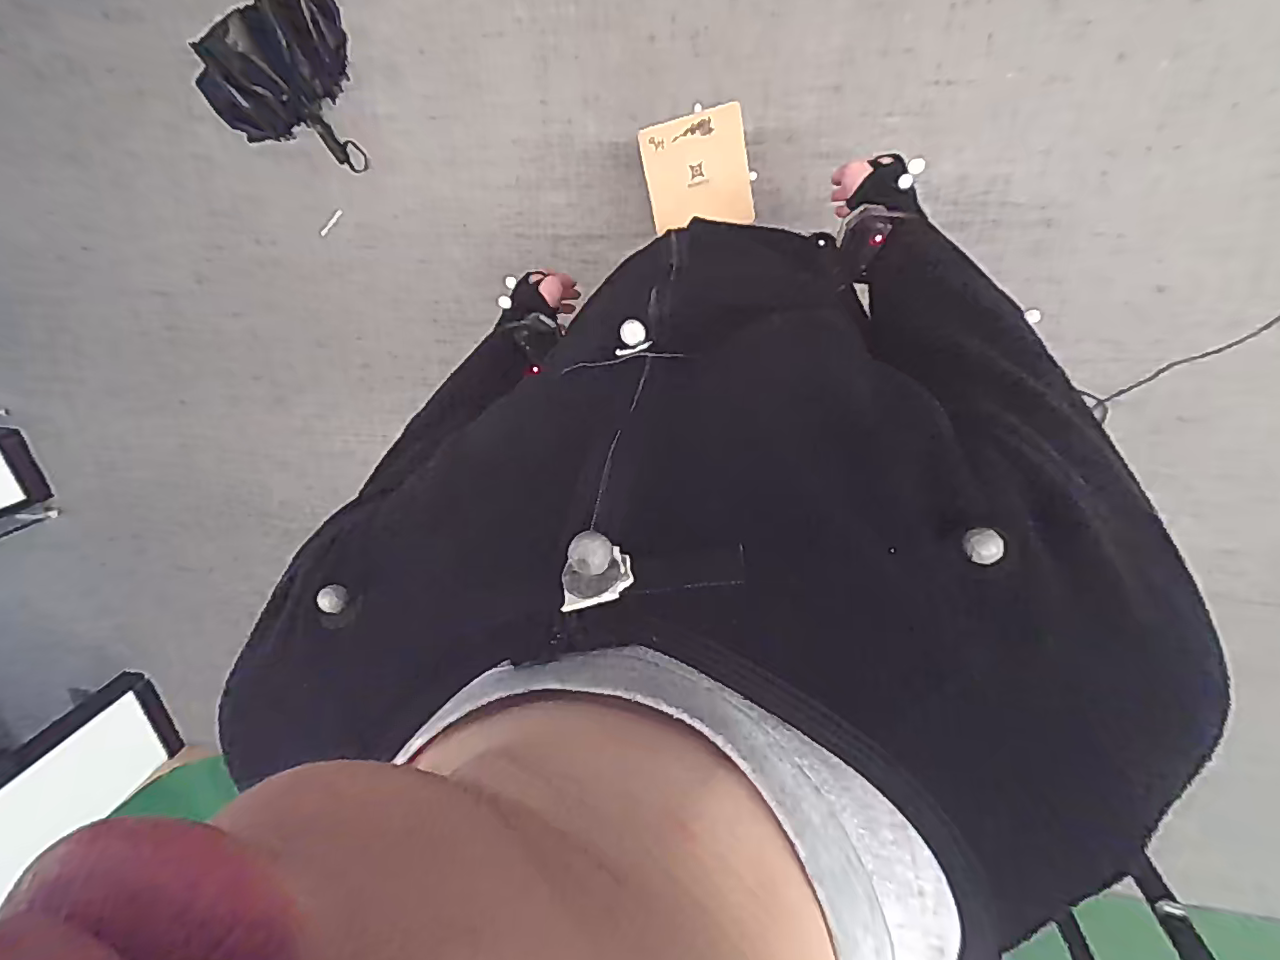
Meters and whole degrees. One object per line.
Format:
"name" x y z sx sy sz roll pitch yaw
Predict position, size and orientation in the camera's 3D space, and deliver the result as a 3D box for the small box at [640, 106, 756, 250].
"small box" 0.111 -0.519 0.943 0.168 0.176 0.179 -8 115 15
